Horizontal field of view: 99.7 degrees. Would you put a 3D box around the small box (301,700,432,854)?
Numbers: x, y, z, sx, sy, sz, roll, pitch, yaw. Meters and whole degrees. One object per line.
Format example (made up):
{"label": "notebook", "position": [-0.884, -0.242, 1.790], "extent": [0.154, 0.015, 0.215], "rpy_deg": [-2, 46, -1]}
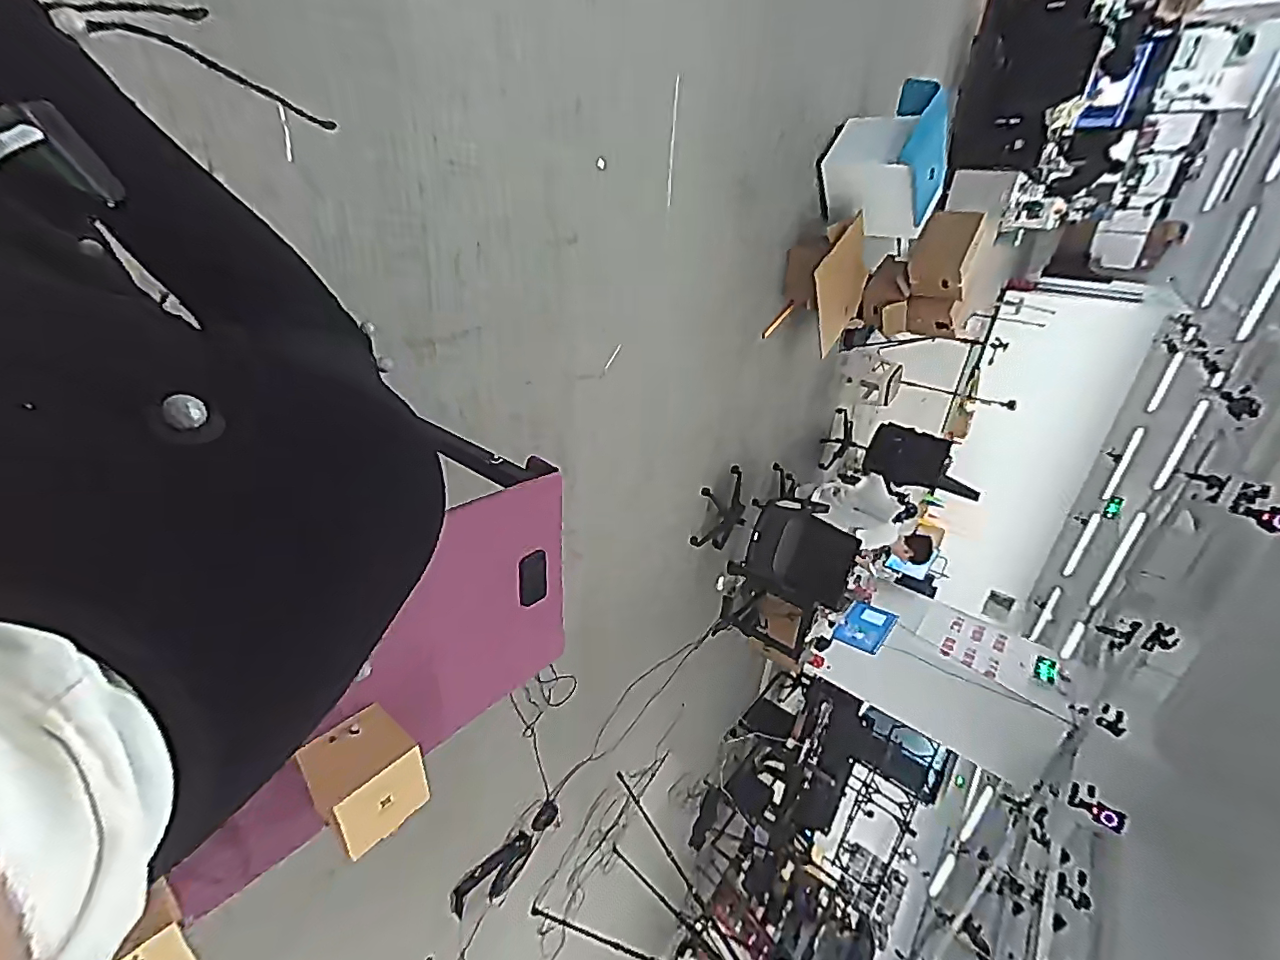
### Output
{"label": "small box", "position": [-0.549, 0.587, 1.091], "extent": [0.168, 0.176, 0.179], "rpy_deg": [-27, 130, -44]}

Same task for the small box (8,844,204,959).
{"label": "small box", "position": [-0.801, 0.710, 0.821], "extent": [0.168, 0.176, 0.179], "rpy_deg": [-25, 130, -45]}
